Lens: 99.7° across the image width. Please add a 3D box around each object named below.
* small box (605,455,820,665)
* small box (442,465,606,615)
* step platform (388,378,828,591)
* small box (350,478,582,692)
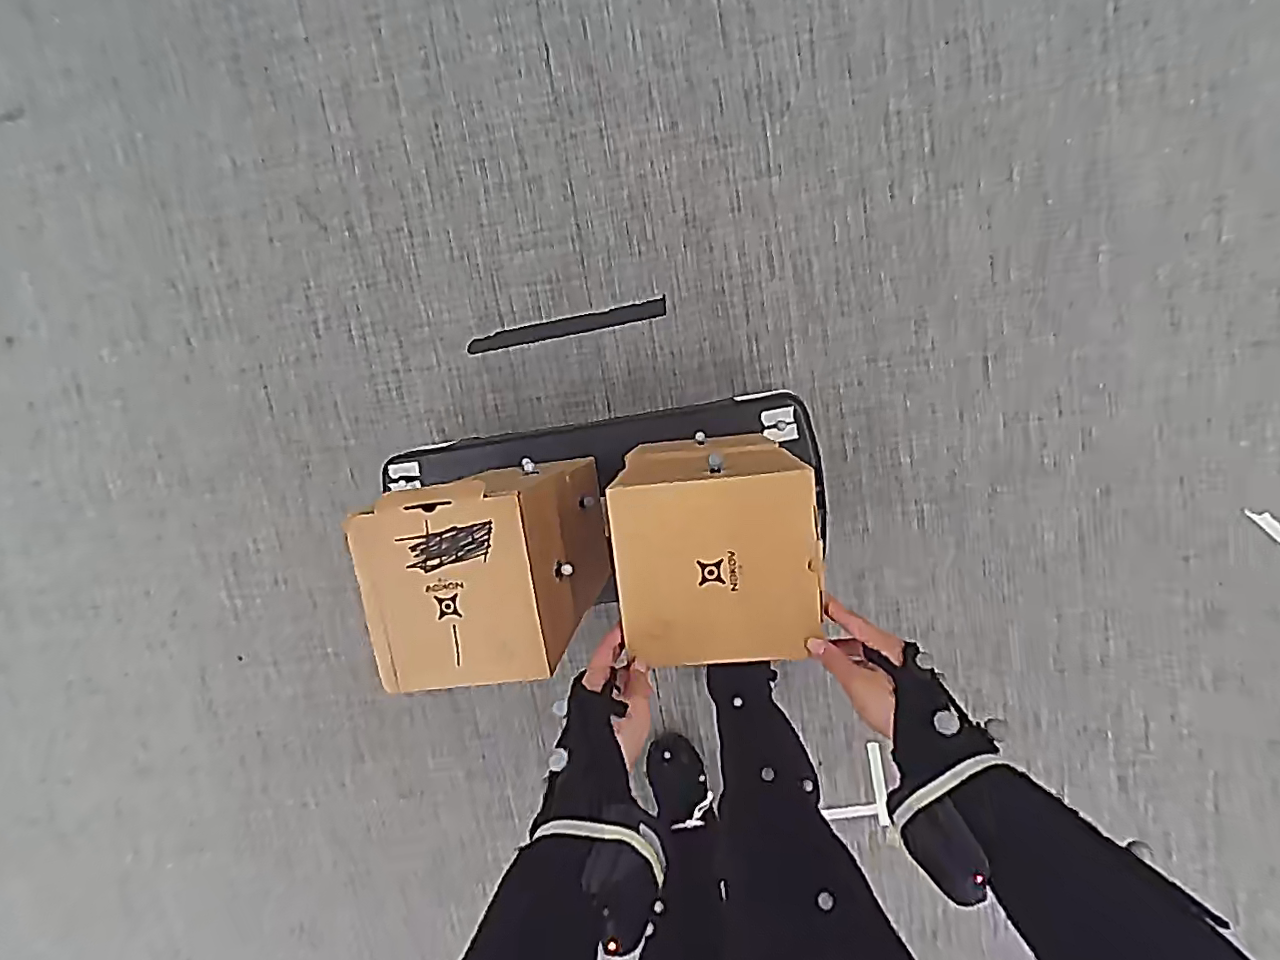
[{"bbox_3d":[0.070,0.069,0.545,0.179,0.176,0.168,-6,98,6],"label":"small box"},{"bbox_3d":[-0.147,0.076,0.731,0.168,0.176,0.179,-7,97,7],"label":"small box"},{"bbox_3d":[-0.051,0.023,0.891,0.684,0.204,0.286,-8,97,7],"label":"step platform"},{"bbox_3d":[-0.165,0.095,0.569,0.168,0.176,0.179,-7,97,7],"label":"small box"}]
